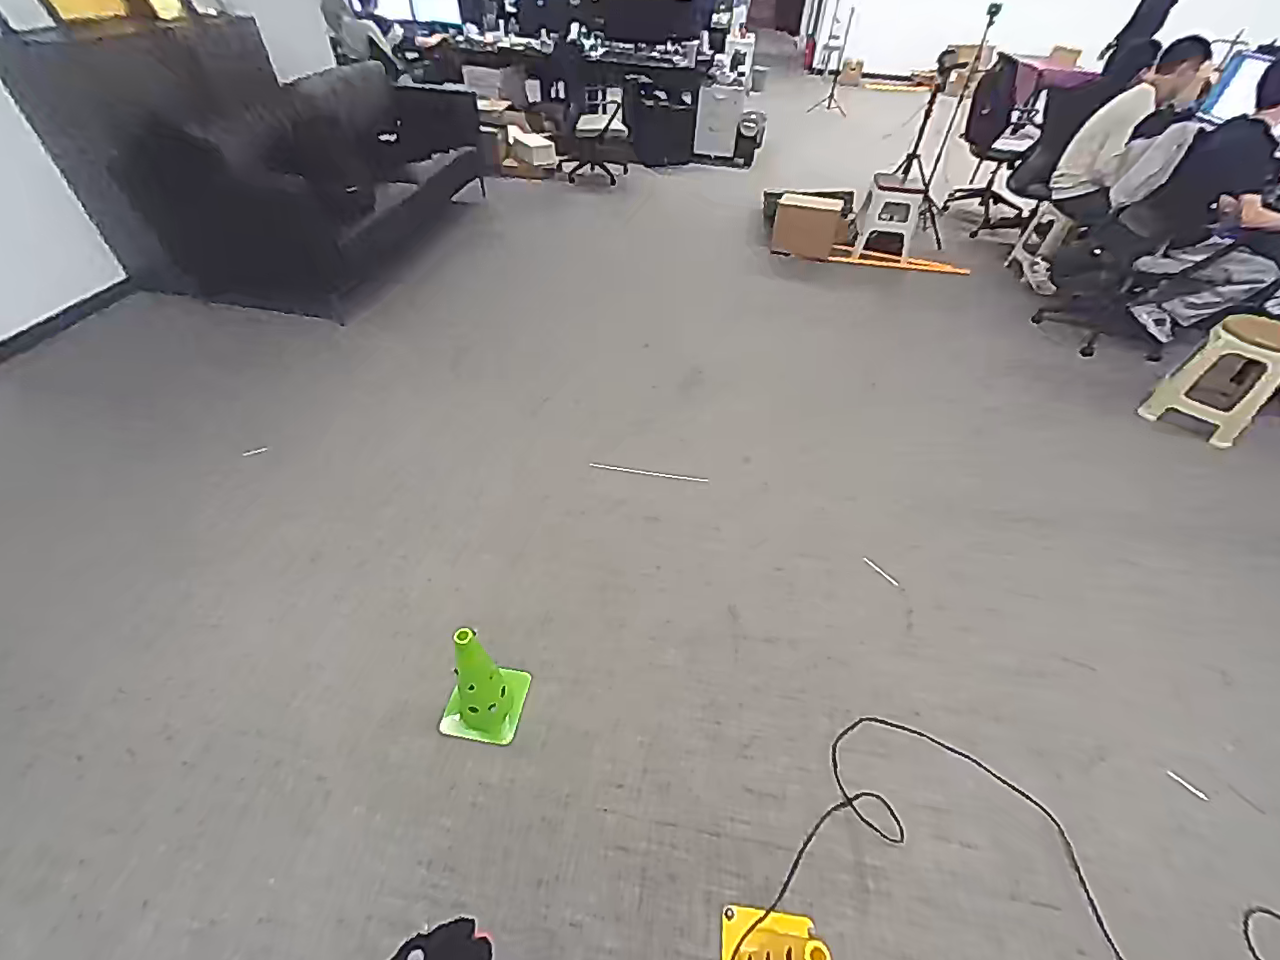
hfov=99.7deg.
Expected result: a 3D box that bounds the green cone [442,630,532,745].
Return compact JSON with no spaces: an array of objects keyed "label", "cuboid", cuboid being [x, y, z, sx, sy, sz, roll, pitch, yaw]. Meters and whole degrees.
[{"label":"green cone","cuboid":[-0.404,0.487,1.352,0.202,0.368,0.200,8,45,4]}]
